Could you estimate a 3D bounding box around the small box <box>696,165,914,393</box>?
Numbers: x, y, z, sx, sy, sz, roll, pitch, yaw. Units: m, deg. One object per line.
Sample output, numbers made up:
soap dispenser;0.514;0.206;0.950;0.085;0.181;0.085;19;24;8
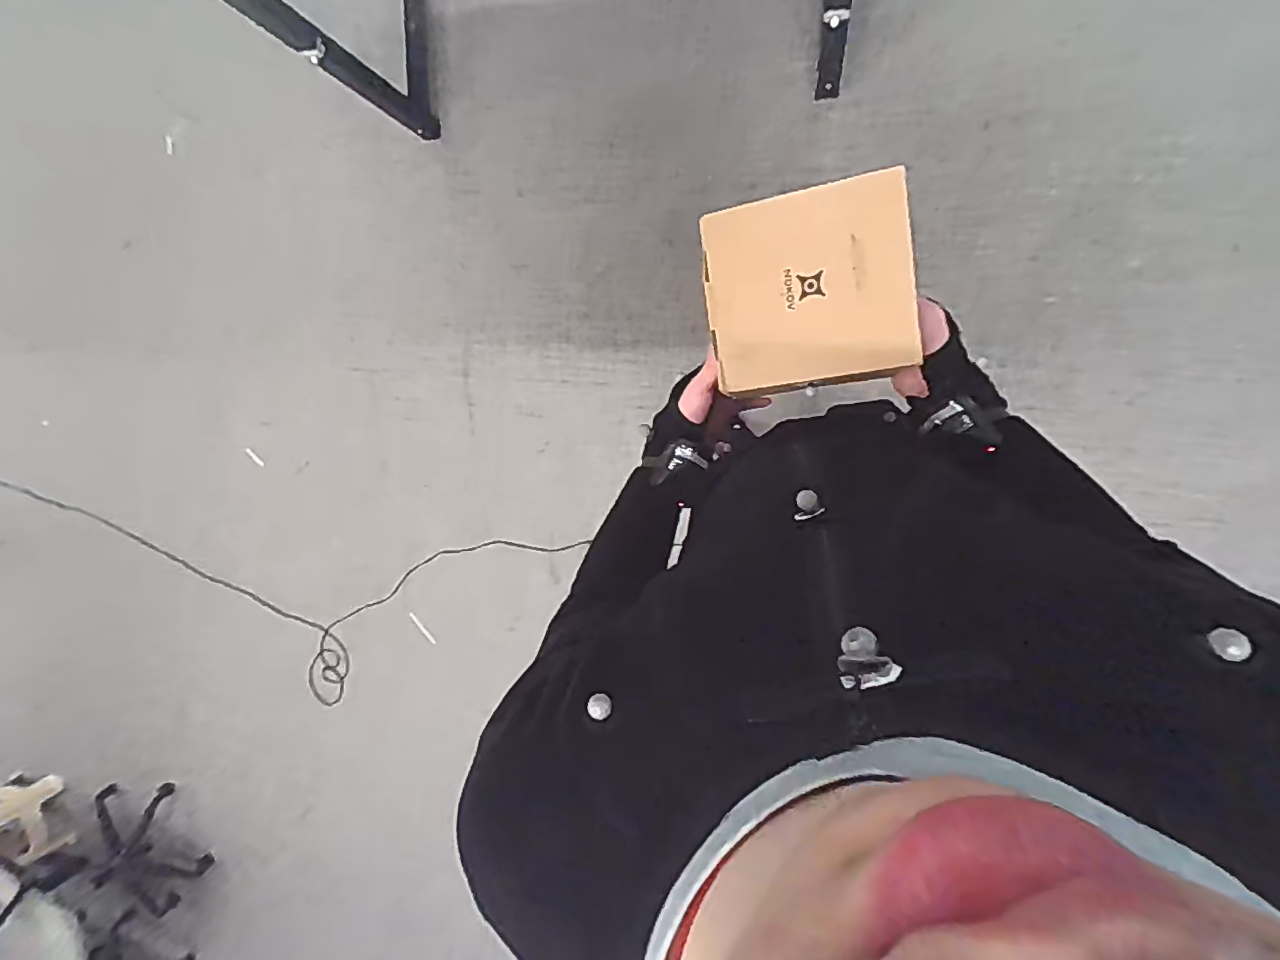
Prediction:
small box;0.166;-0.184;0.557;0.179;0.176;0.168;-6;96;17
